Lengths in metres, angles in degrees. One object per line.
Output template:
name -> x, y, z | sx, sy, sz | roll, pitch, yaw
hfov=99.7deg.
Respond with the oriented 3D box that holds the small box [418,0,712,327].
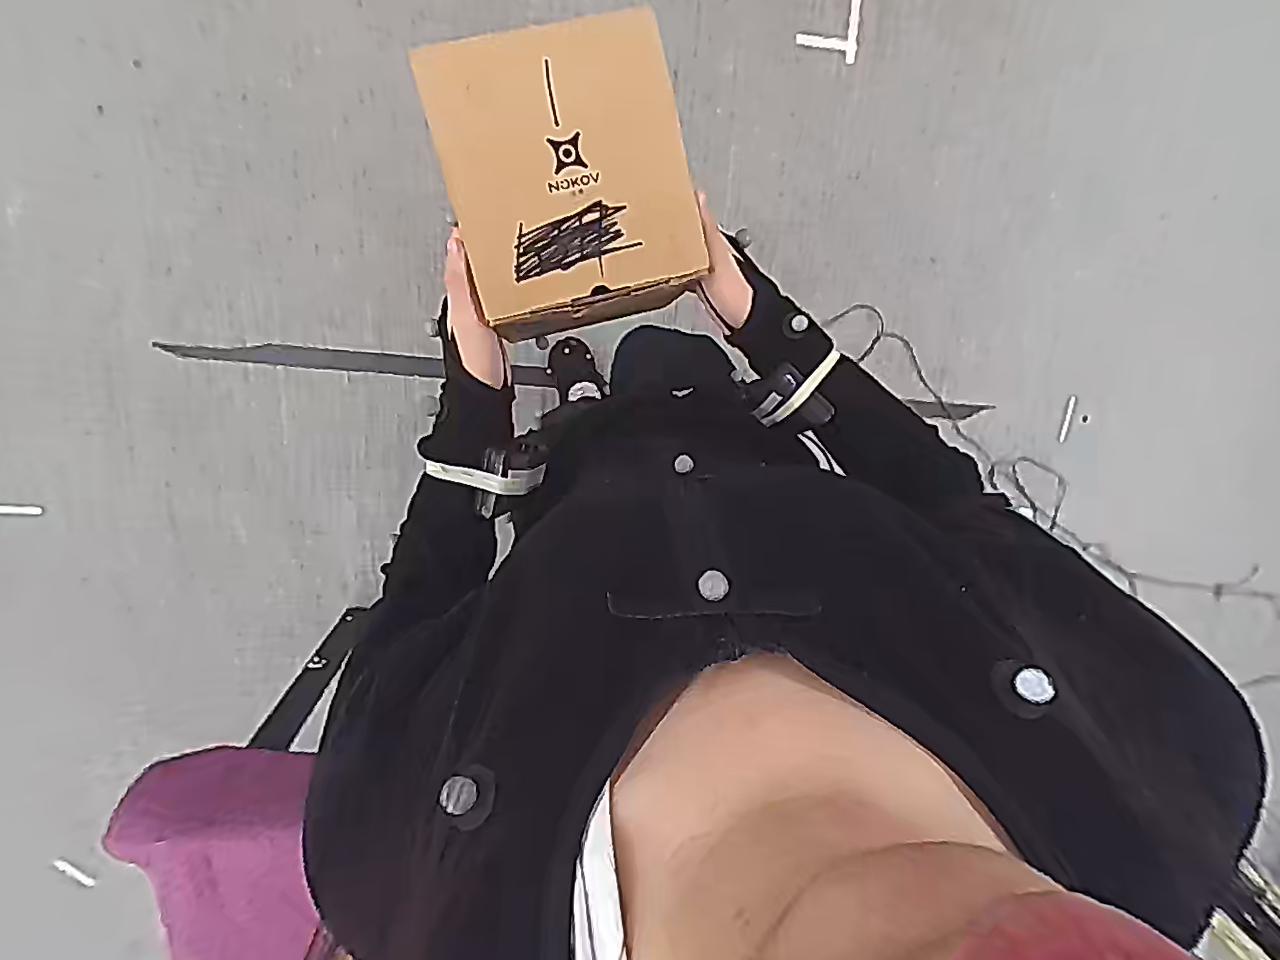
small box -> -0.055, -0.230, 0.441 | 0.168, 0.176, 0.179 | -15, 100, -6
